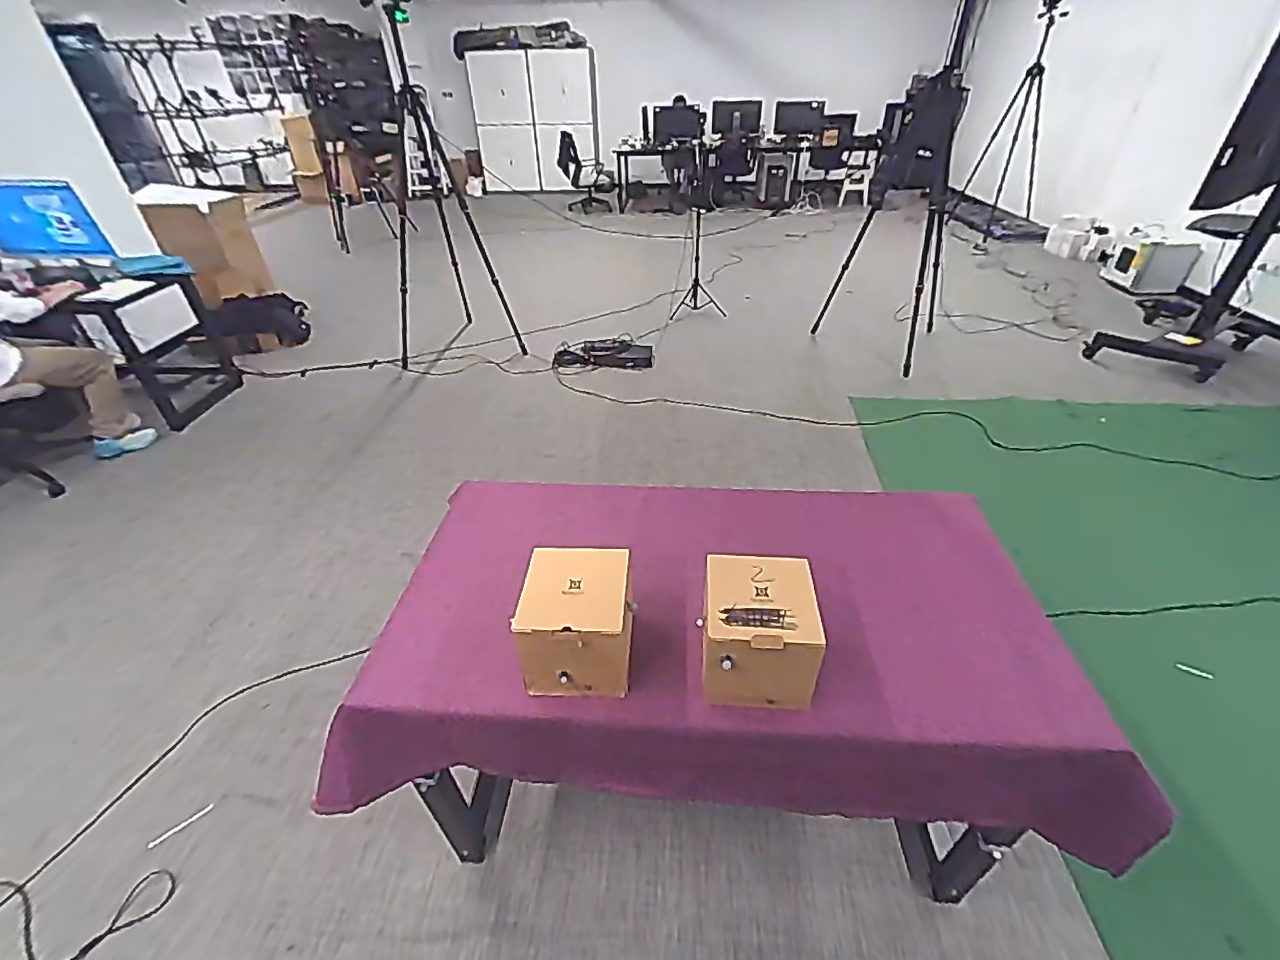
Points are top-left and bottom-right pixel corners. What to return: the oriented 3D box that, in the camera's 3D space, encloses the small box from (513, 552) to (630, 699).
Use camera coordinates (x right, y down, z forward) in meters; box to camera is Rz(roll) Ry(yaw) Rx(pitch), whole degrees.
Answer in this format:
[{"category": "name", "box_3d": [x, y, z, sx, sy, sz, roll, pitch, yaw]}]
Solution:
[{"category": "small box", "box_3d": [-0.104, 0.243, 0.916, 0.168, 0.176, 0.179, 0, 37, 3]}]
